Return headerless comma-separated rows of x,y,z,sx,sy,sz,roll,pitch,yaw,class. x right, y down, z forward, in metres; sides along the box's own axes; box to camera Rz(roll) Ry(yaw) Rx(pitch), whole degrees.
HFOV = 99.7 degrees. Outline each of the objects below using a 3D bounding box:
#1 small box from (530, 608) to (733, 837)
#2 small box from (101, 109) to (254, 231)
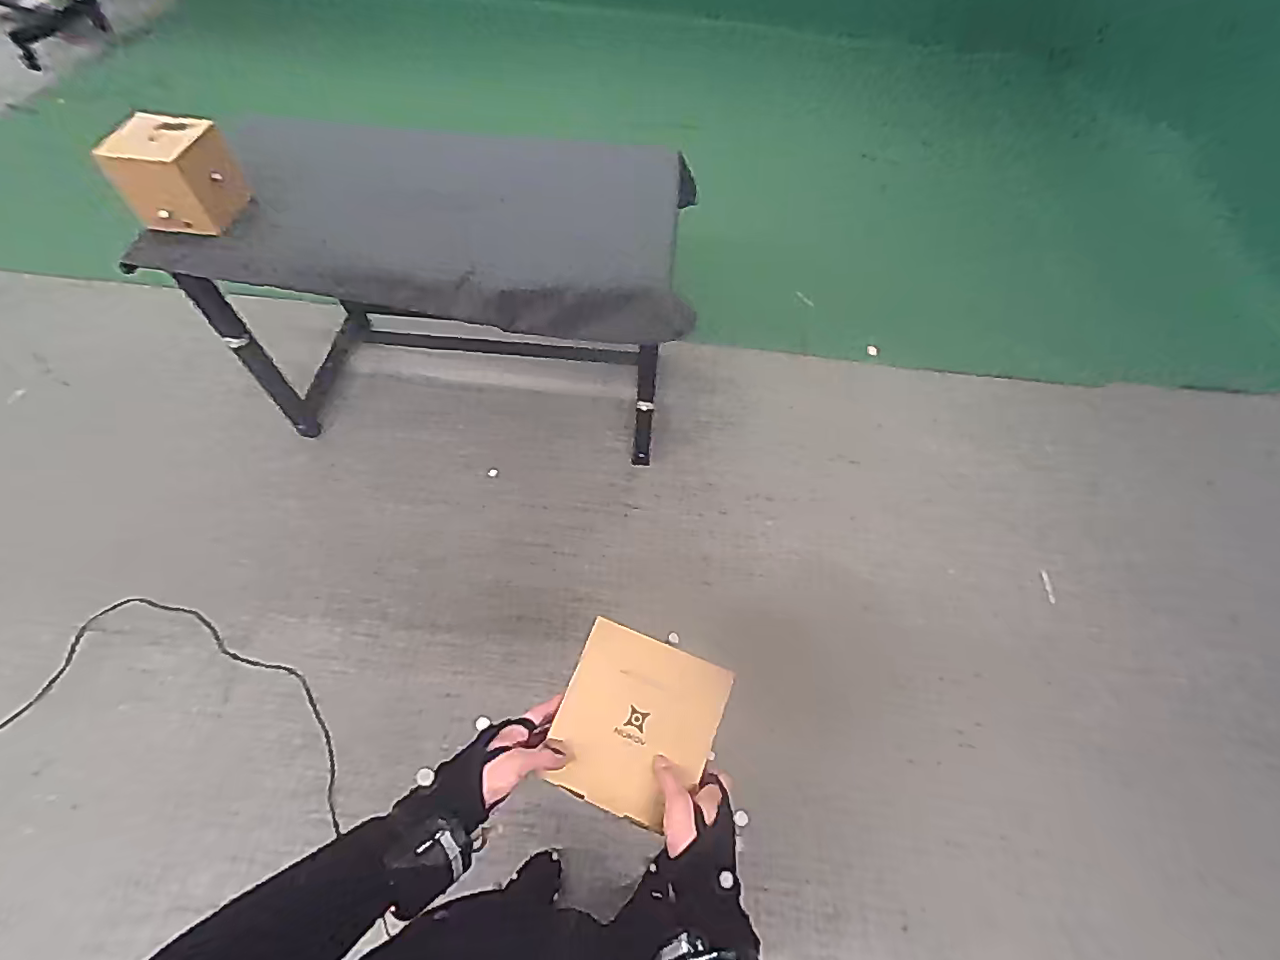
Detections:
-0.006,0.269,0.637,0.168,0.176,0.179,21,73,6,small box
-1.010,-0.688,1.206,0.168,0.176,0.179,6,58,0,small box
